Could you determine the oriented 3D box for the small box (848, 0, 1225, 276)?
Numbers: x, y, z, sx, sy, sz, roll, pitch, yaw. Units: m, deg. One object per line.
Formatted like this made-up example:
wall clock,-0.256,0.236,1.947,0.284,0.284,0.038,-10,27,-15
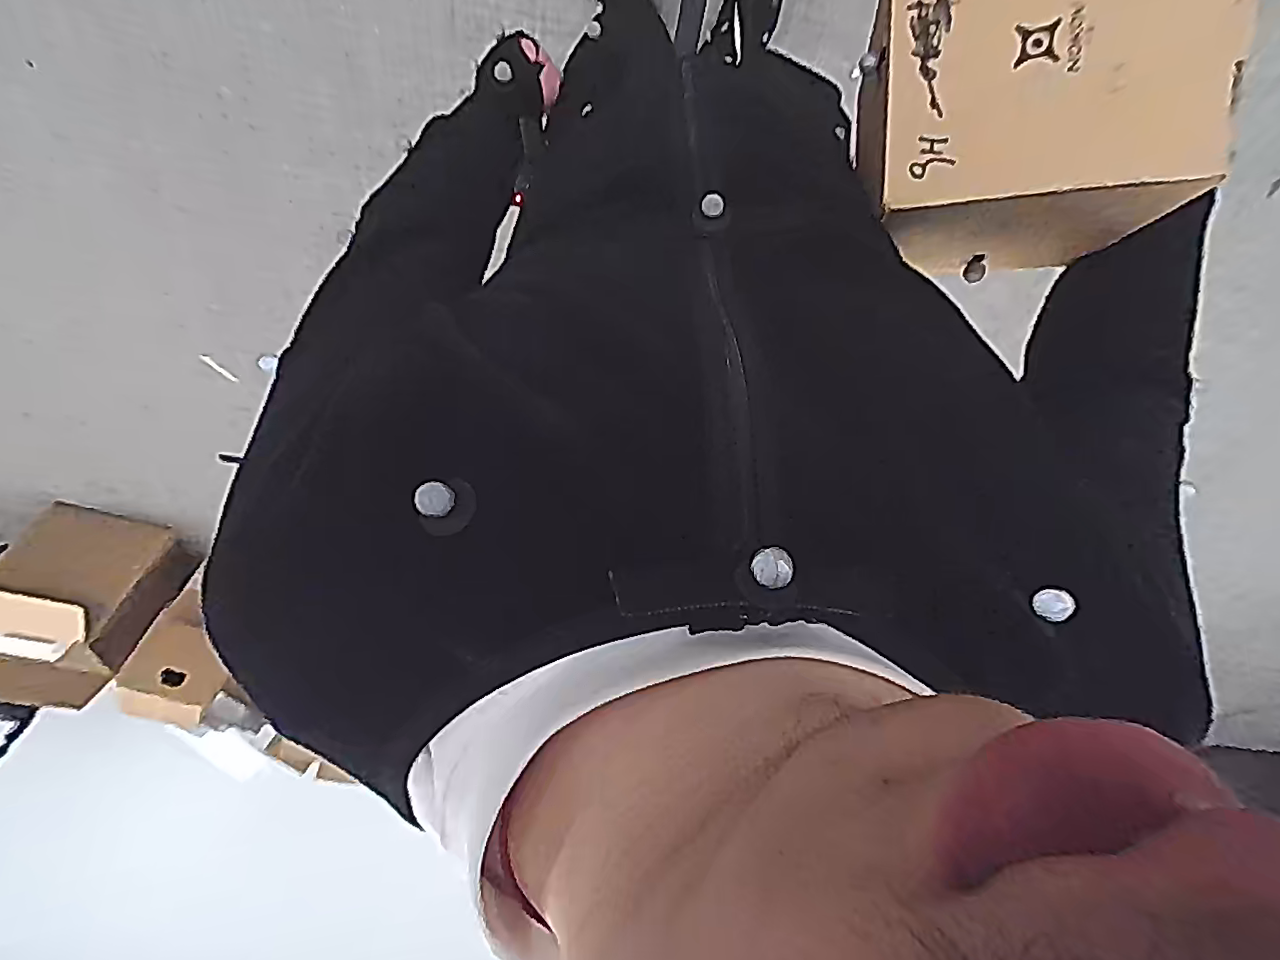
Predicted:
small box,0.260,-0.259,0.399,0.179,0.176,0.168,2,95,15
